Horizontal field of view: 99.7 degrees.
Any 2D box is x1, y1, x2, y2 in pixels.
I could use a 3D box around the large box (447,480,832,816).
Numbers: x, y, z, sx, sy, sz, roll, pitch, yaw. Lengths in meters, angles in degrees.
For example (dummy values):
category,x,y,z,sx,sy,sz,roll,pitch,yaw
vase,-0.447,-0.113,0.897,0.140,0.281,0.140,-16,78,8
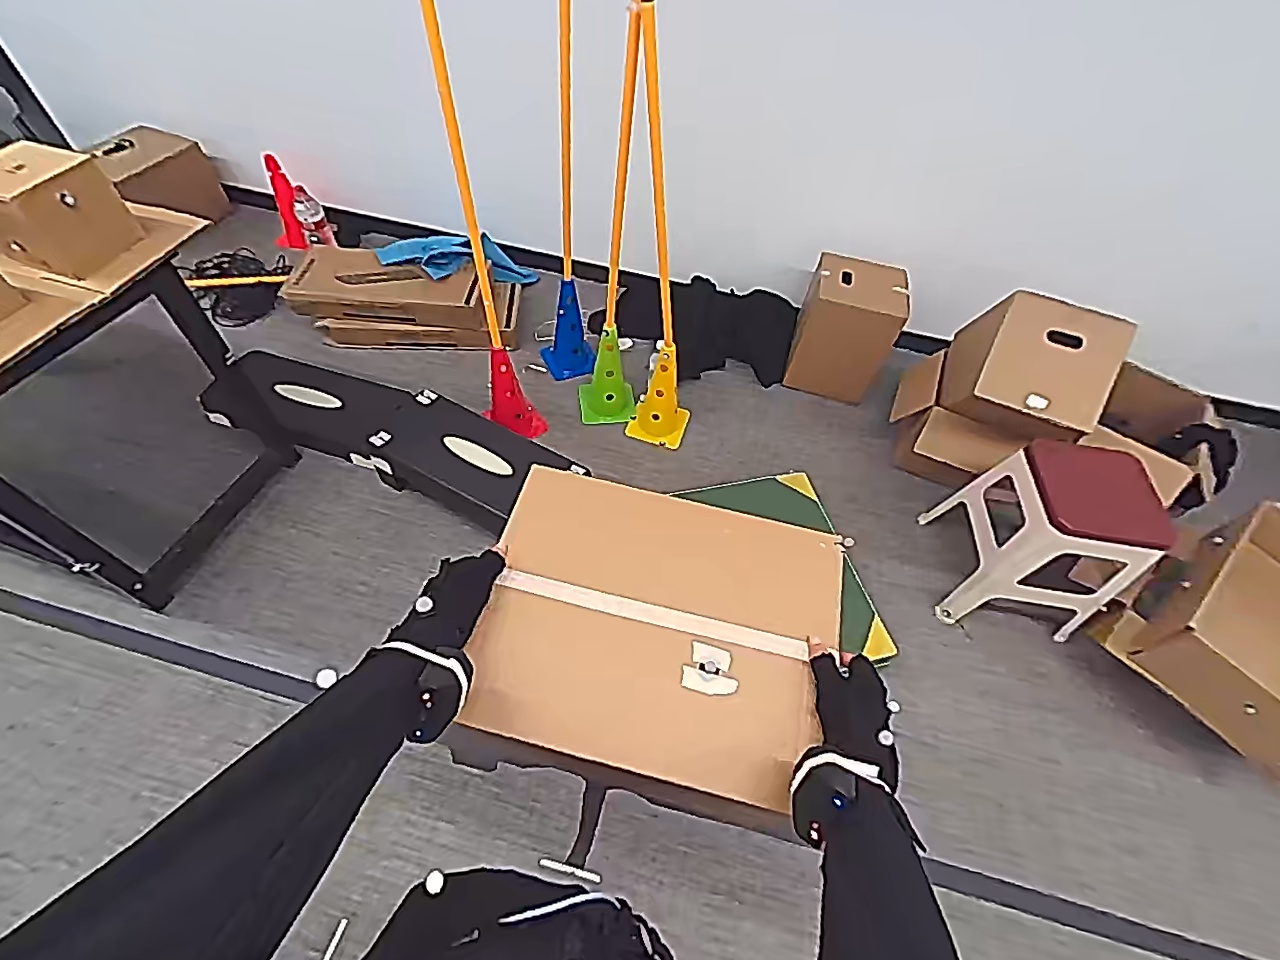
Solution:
category,x,y,z,sx,sy,sz,roll,pitch,yaw
large box,0.010,0.244,0.753,0.408,0.320,0.320,13,59,3
